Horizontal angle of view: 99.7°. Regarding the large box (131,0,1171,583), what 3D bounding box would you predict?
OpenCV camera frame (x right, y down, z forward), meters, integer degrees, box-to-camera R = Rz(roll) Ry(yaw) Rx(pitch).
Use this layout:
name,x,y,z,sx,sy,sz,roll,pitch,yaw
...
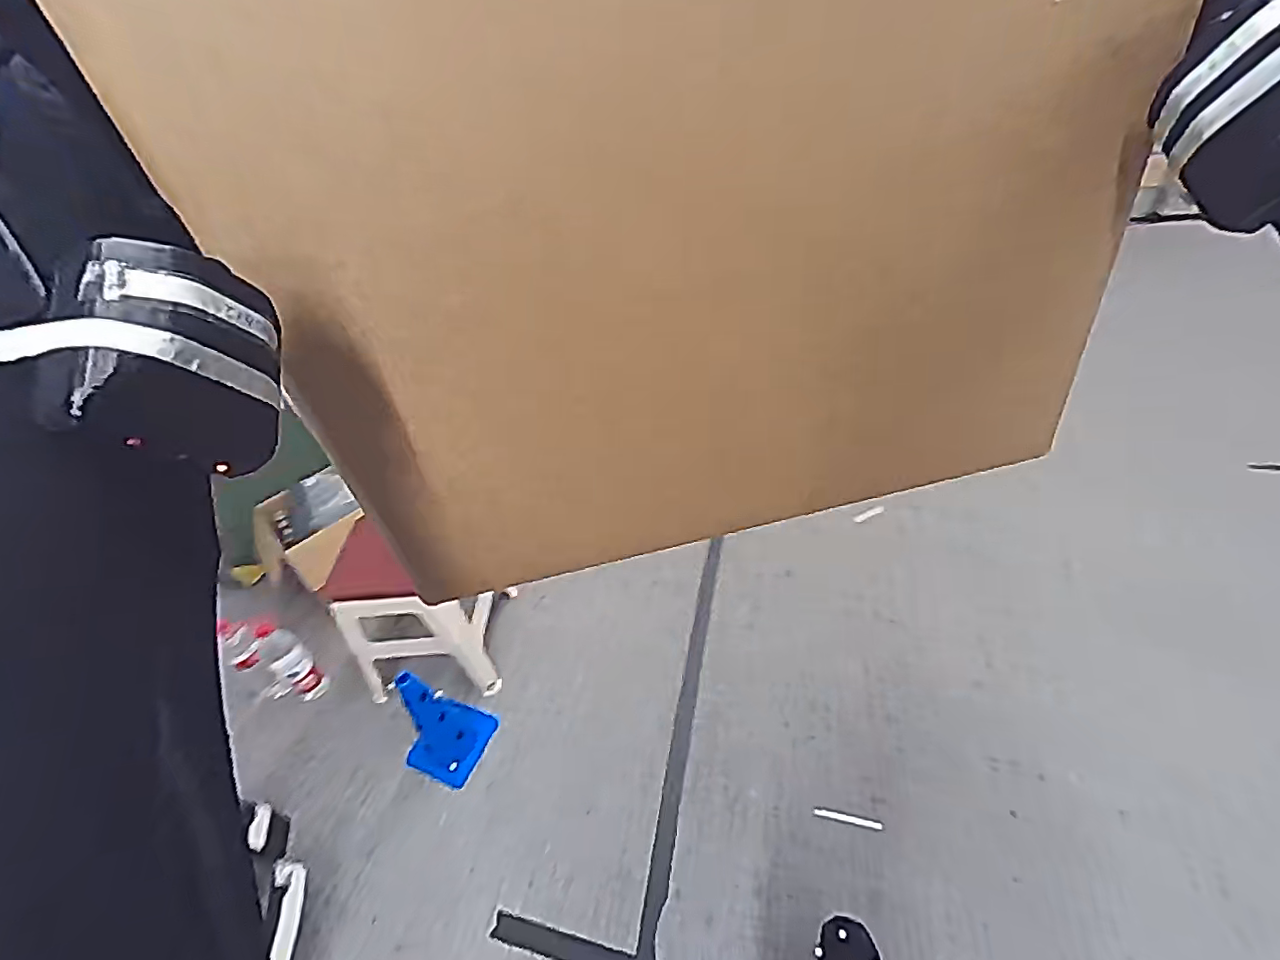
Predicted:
name,x,y,z,sx,sy,sz,roll,pitch,yaw
large box,0.019,-0.178,0.379,0.408,0.320,0.320,-13,37,-2
